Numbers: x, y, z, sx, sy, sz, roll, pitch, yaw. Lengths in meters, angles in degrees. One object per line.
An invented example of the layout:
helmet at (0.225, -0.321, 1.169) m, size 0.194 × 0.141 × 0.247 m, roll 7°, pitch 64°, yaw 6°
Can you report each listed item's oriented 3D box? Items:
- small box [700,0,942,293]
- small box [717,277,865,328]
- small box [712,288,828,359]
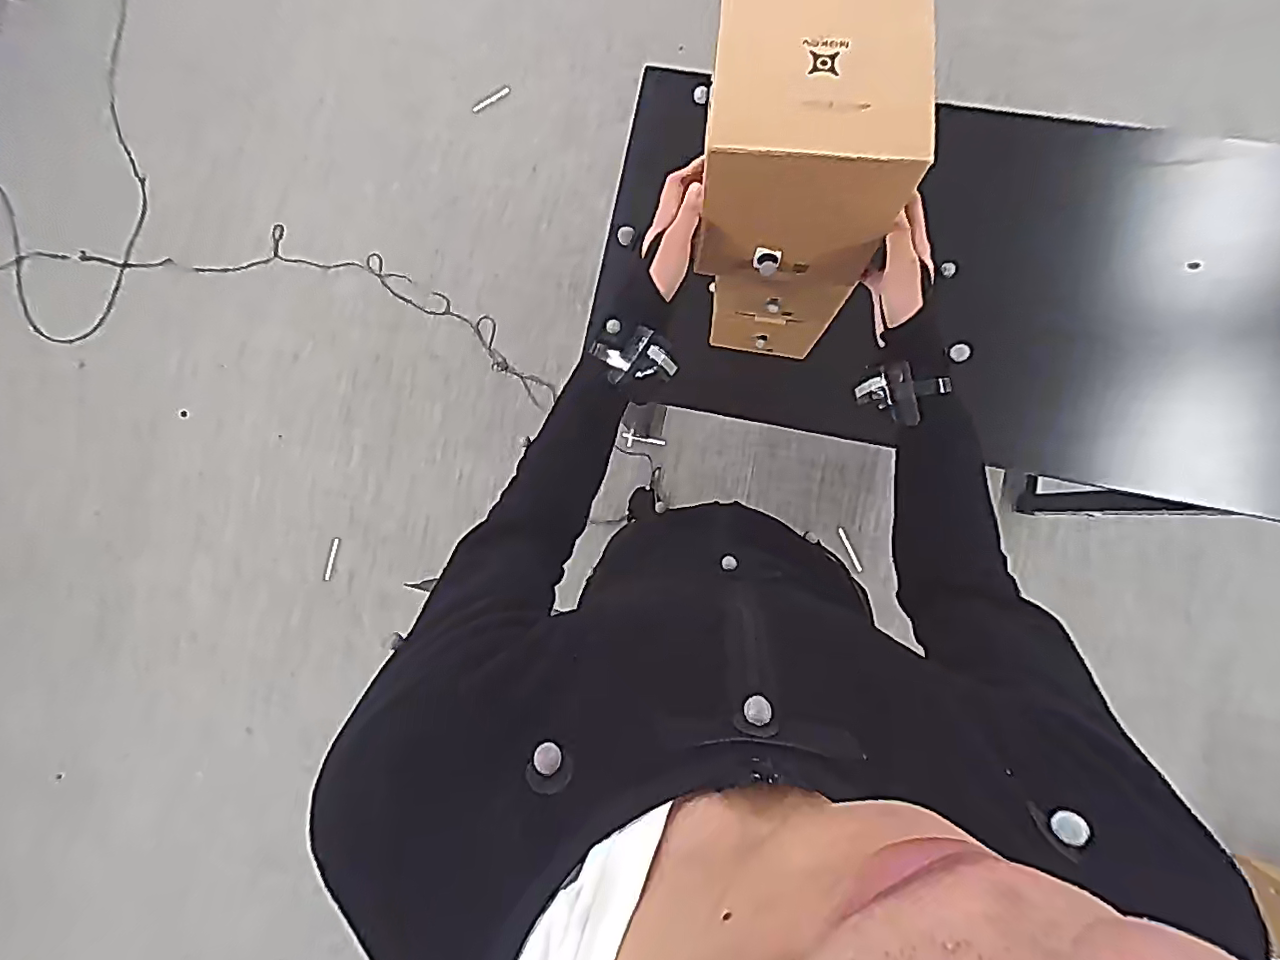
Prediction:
small box at (0.144, -0.296, 0.484) m, size 0.168 × 0.176 × 0.179 m, roll 5°, pitch 78°, yaw 4°
small box at (0.194, -0.316, 0.688) m, size 0.168 × 0.176 × 0.179 m, roll 11°, pitch 87°, yaw 7°
small box at (0.209, -0.302, 0.851) m, size 0.168 × 0.176 × 0.179 m, roll 10°, pitch 87°, yaw 6°
